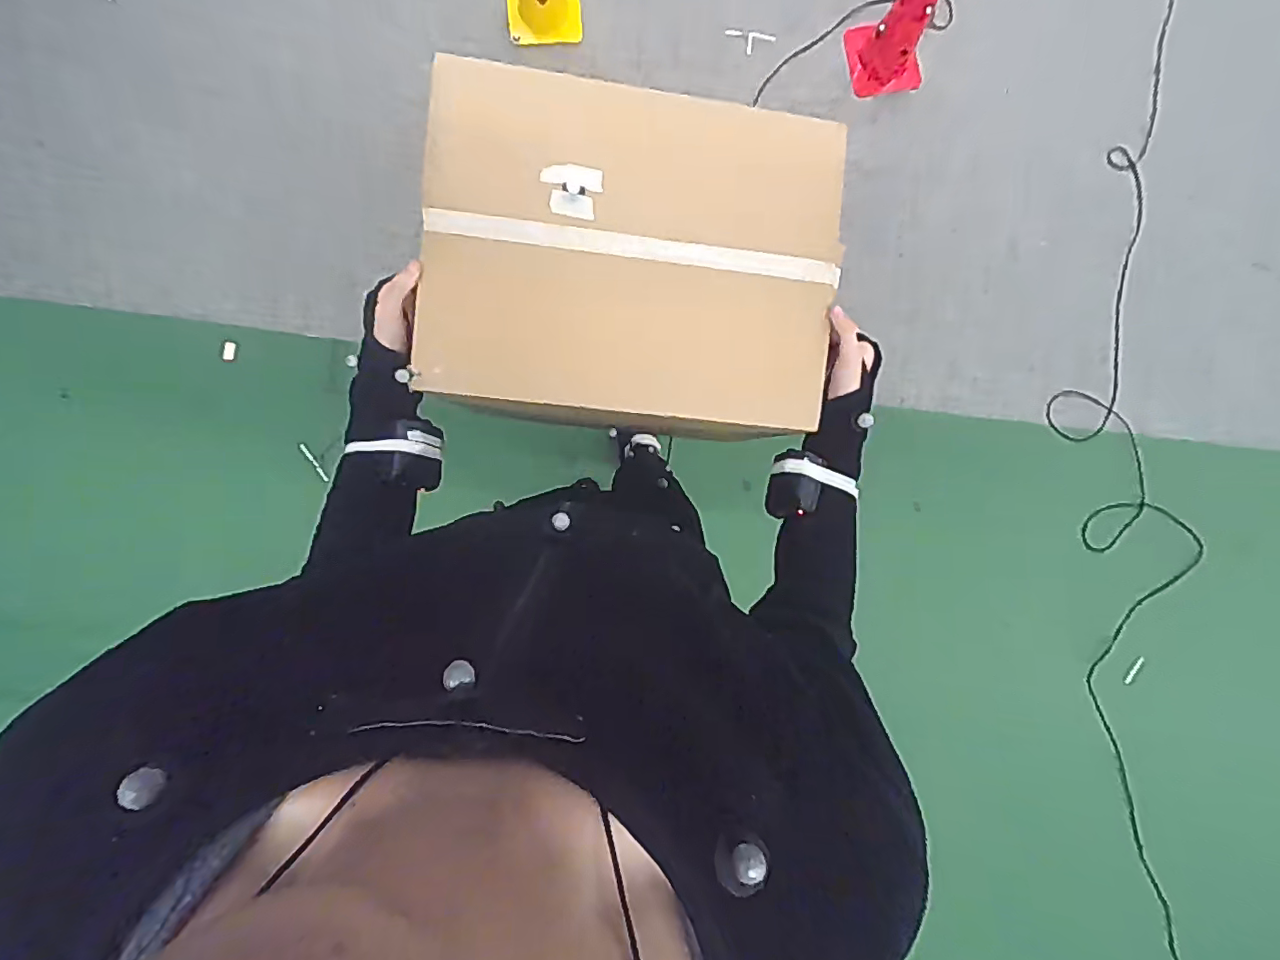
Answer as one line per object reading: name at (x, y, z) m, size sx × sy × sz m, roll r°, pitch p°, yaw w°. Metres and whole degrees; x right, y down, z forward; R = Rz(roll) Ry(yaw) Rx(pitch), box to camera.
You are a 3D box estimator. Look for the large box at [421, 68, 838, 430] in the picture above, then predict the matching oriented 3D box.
large box at (-0.018, -0.234, 0.687) m, size 0.408 × 0.320 × 0.320 m, roll 5°, pitch 91°, yaw -6°
